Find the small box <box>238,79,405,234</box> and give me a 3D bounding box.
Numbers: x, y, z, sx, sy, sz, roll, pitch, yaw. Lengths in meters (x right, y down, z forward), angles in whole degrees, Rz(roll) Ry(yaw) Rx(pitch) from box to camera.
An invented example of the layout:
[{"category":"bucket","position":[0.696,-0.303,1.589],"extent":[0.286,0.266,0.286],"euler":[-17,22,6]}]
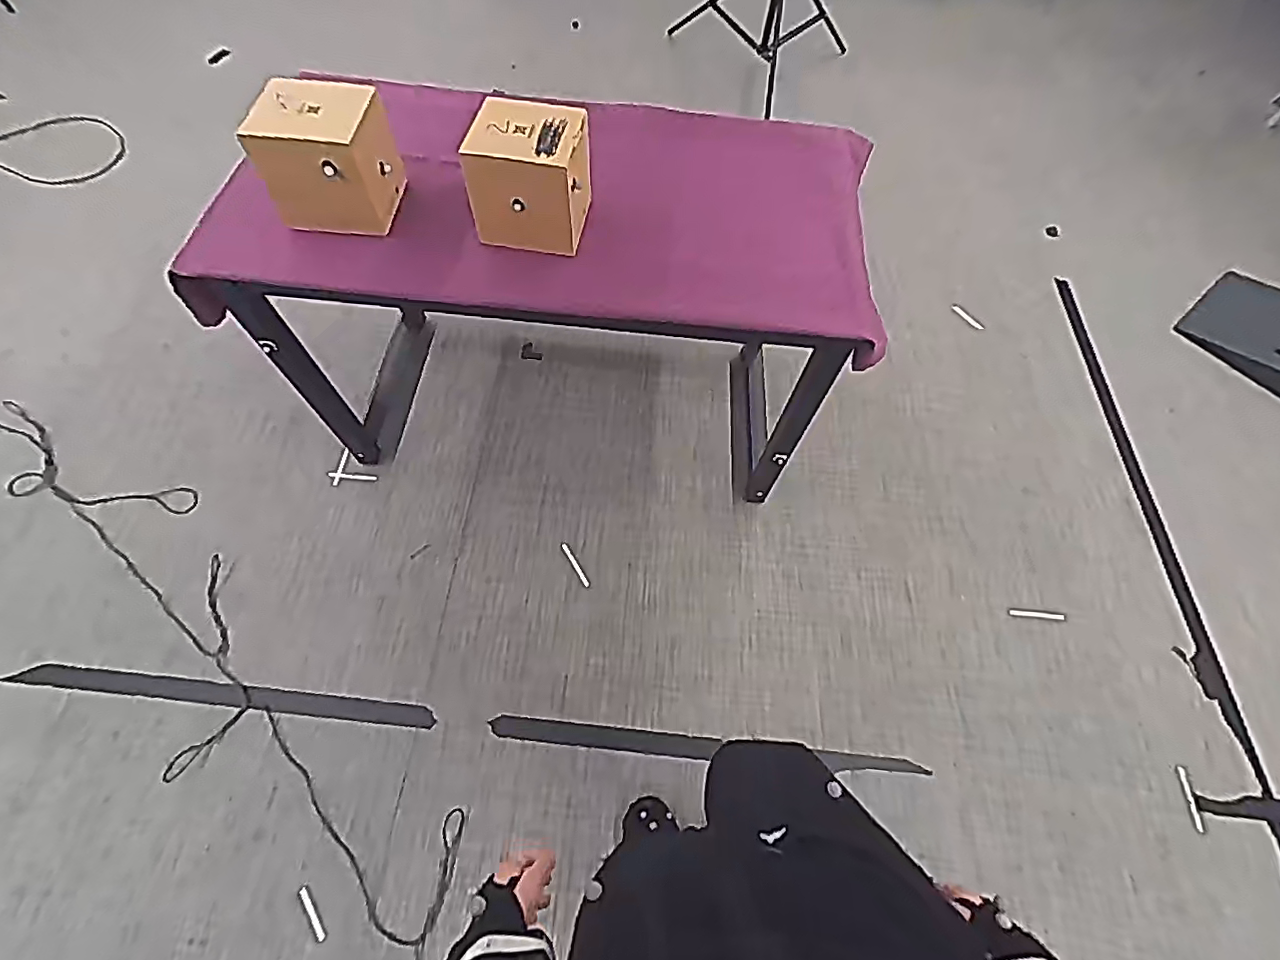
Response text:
[{"category":"small box","position":[-0.532,-0.554,0.938],"extent":[0.179,0.176,0.168],"euler":[3,61,-2]}]
